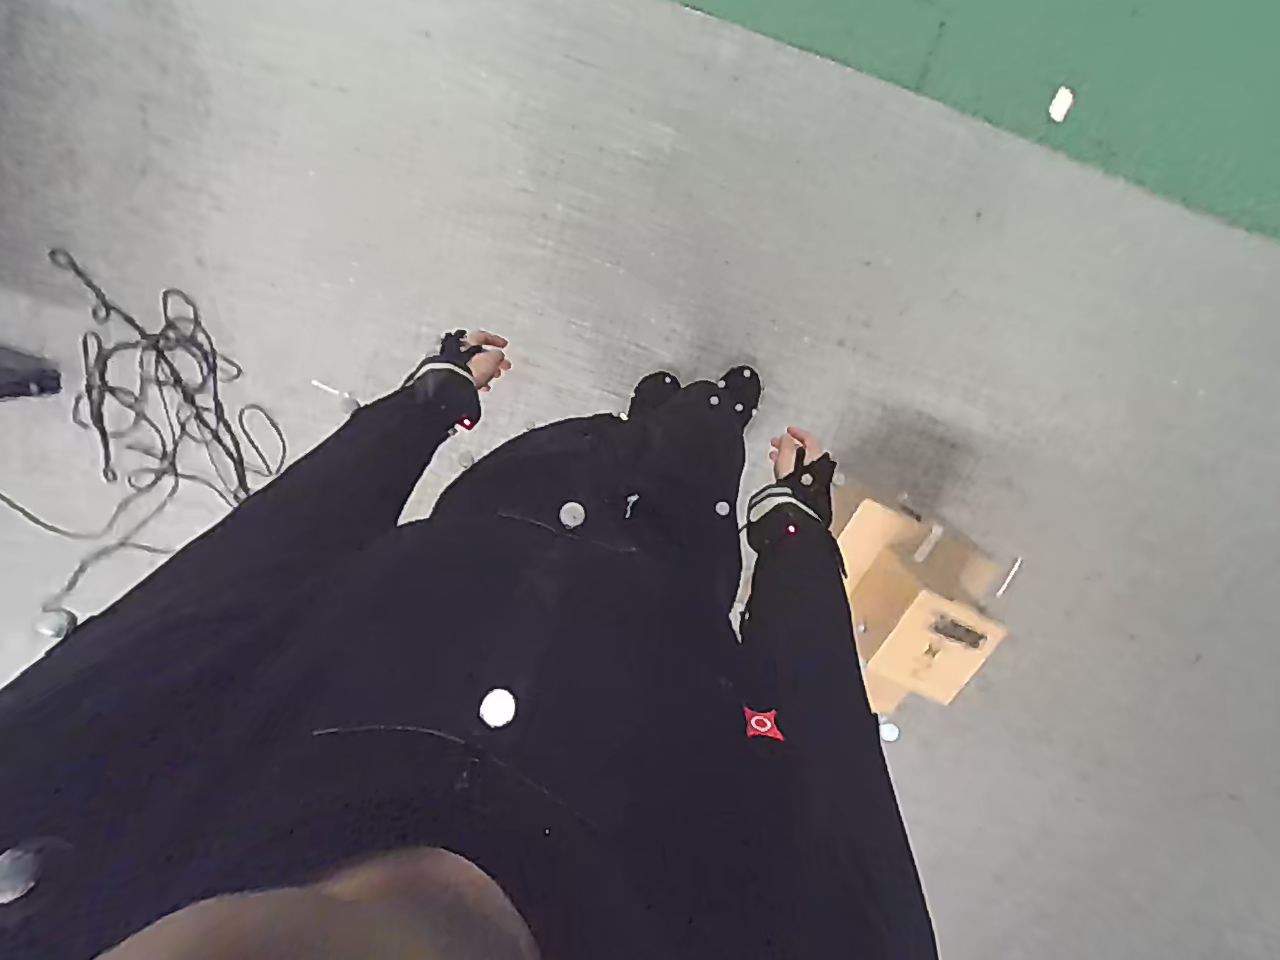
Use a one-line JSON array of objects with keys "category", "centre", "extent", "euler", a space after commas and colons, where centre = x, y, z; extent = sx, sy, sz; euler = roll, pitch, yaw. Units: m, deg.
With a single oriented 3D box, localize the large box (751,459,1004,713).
[{"category": "large box", "centre": [0.493, 0.220, 1.223], "extent": [0.320, 0.320, 0.408], "euler": [26, 108, -2]}]
